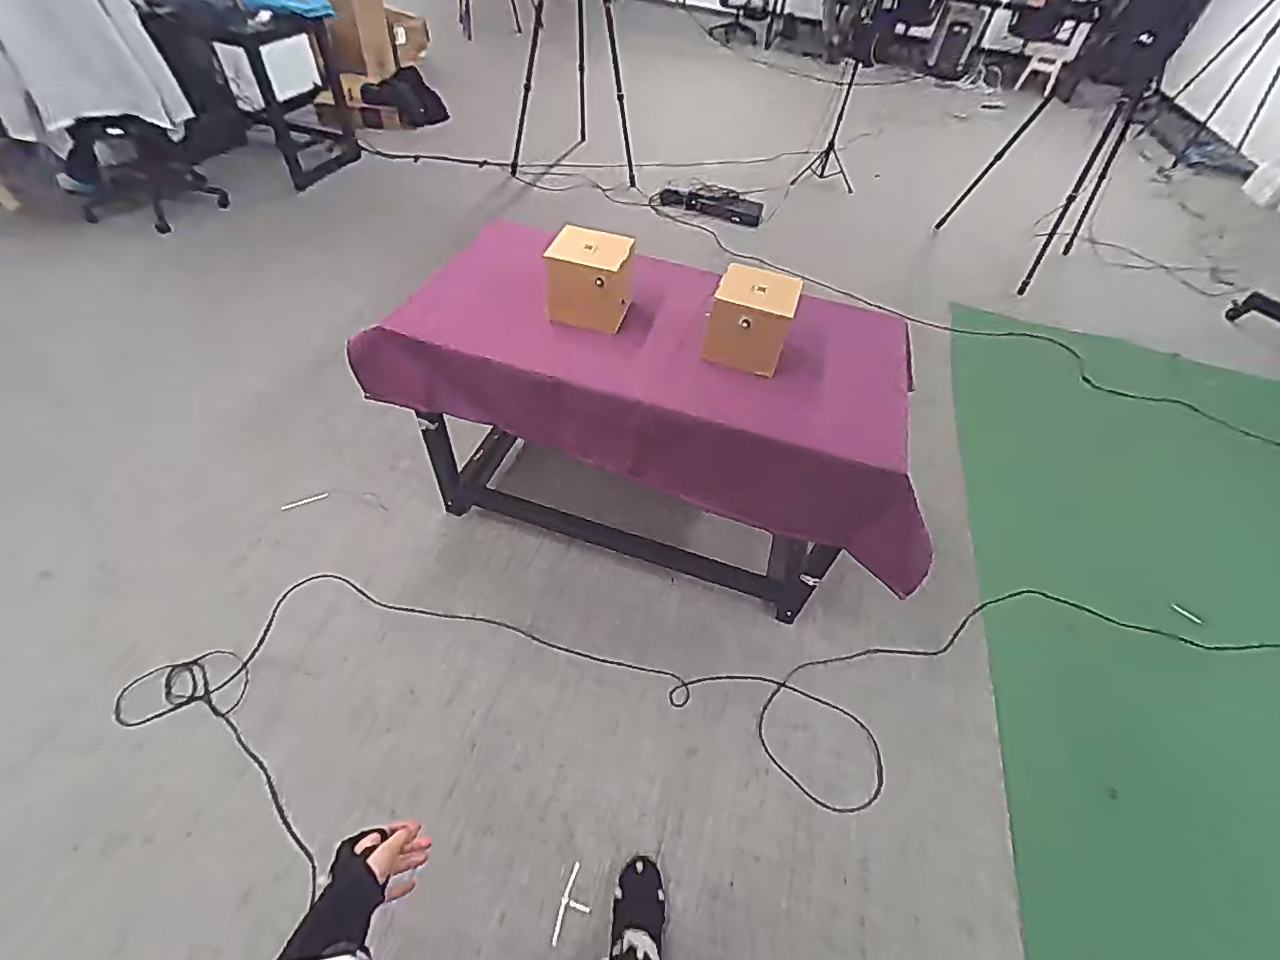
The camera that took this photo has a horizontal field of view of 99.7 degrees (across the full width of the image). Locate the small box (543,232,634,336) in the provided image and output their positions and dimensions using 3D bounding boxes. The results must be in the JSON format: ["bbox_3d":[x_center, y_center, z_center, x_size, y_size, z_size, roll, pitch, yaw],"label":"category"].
[{"bbox_3d":[-0.123,-0.471,1.308,0.179,0.176,0.168,14,49,4],"label":"small box"}]

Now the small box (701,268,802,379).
[{"bbox_3d":[0.253,-0.359,1.252,0.179,0.176,0.168,19,51,9],"label":"small box"}]
